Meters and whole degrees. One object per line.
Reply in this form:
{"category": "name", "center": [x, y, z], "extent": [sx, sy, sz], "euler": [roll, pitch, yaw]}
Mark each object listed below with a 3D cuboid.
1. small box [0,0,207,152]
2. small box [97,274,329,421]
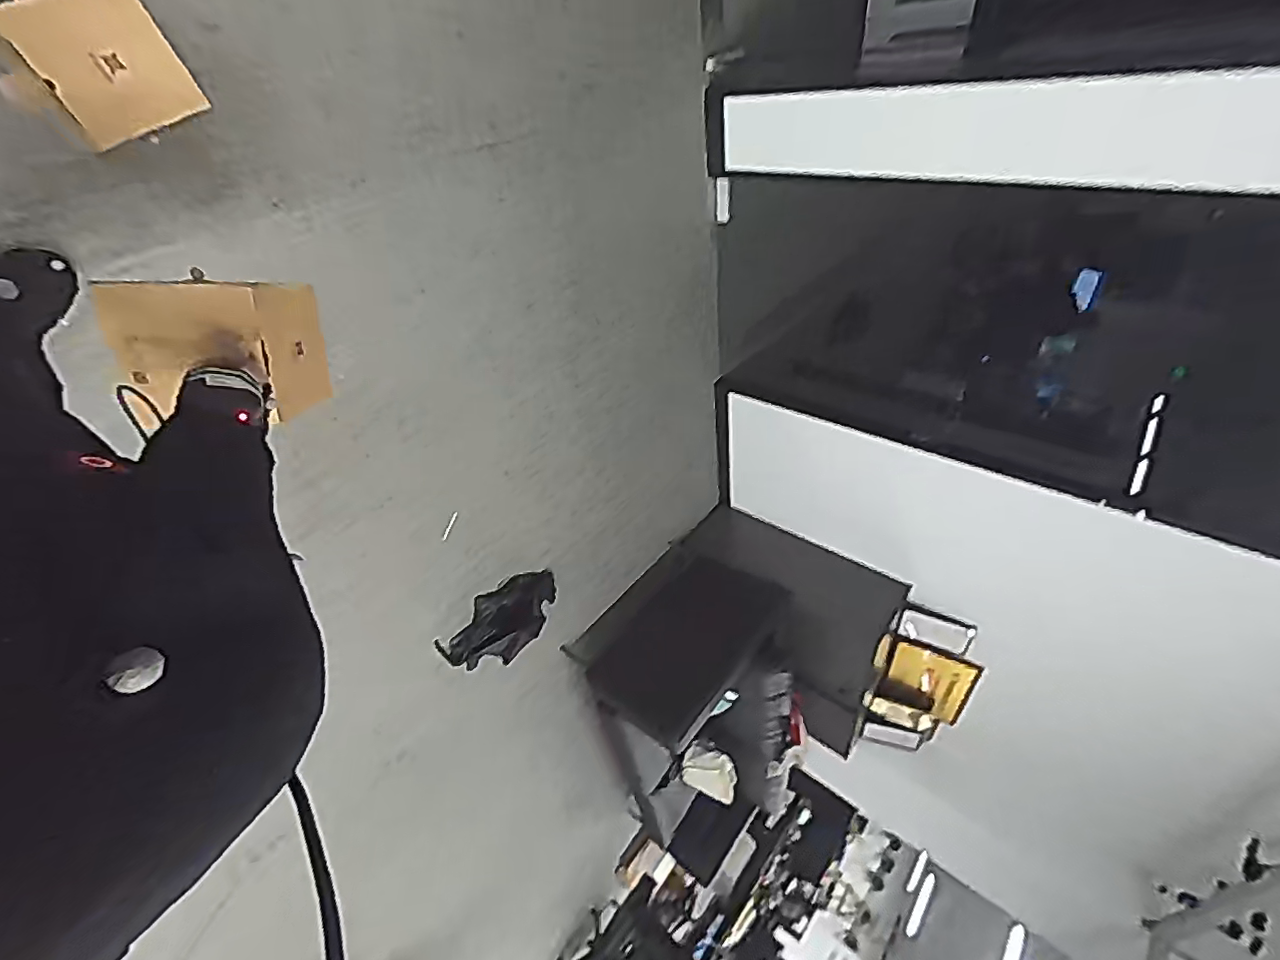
{"category": "small box", "center": [-0.825, -0.622, 0.817], "extent": [0.179, 0.176, 0.168], "euler": [-47, 143, -24]}
{"category": "small box", "center": [-0.535, -0.174, 0.694], "extent": [0.176, 0.179, 0.168], "euler": [-2, 111, -9]}
